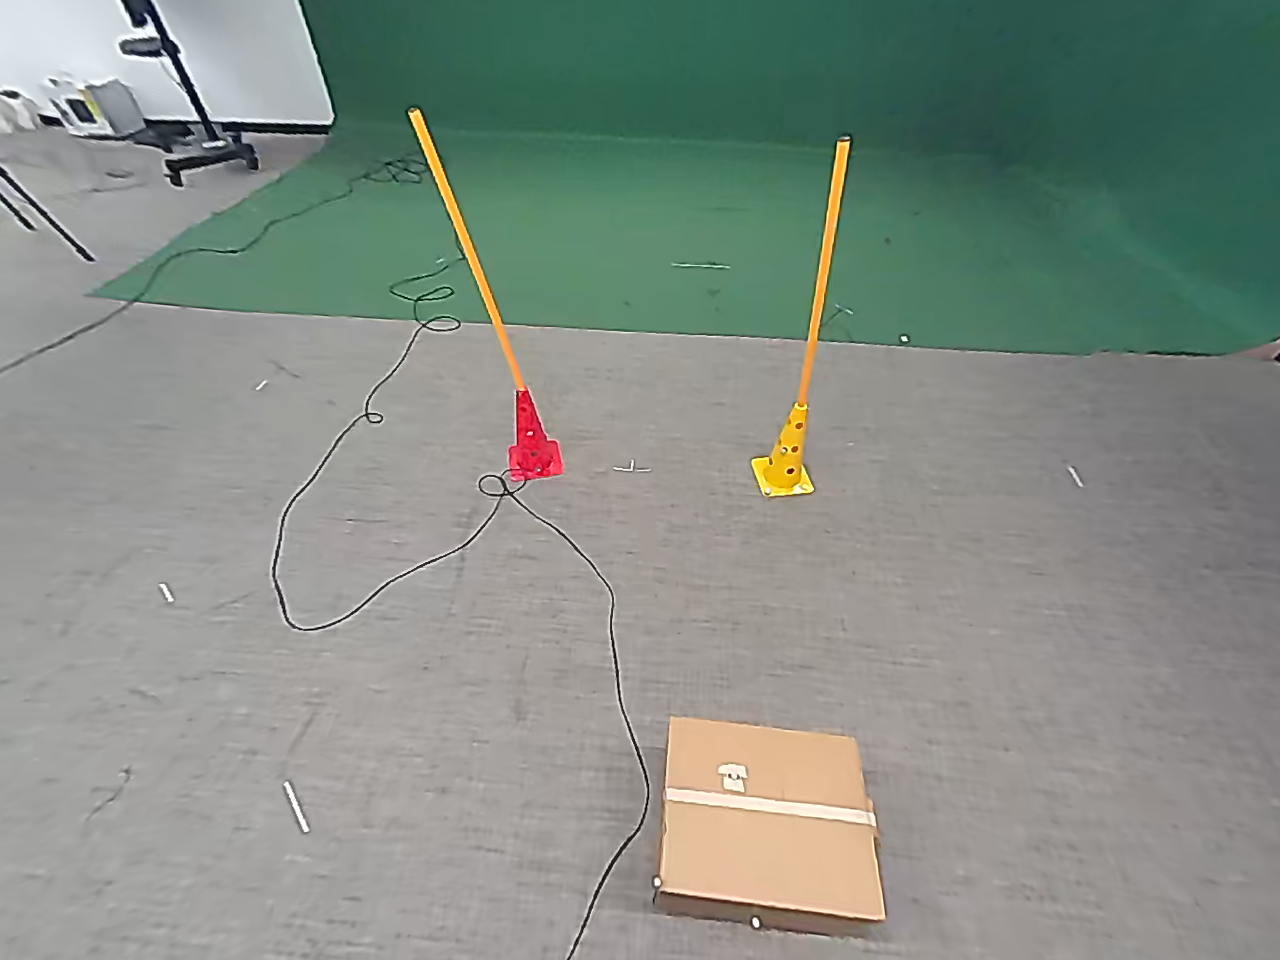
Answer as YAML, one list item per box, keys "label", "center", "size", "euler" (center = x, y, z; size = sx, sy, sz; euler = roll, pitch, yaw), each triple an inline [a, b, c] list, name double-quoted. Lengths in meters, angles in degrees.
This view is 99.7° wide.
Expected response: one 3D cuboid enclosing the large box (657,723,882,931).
- label: "large box"
  center: [0.249, 0.756, 1.177]
  size: [0.408, 0.320, 0.320]
  euler: [4, 46, 4]
